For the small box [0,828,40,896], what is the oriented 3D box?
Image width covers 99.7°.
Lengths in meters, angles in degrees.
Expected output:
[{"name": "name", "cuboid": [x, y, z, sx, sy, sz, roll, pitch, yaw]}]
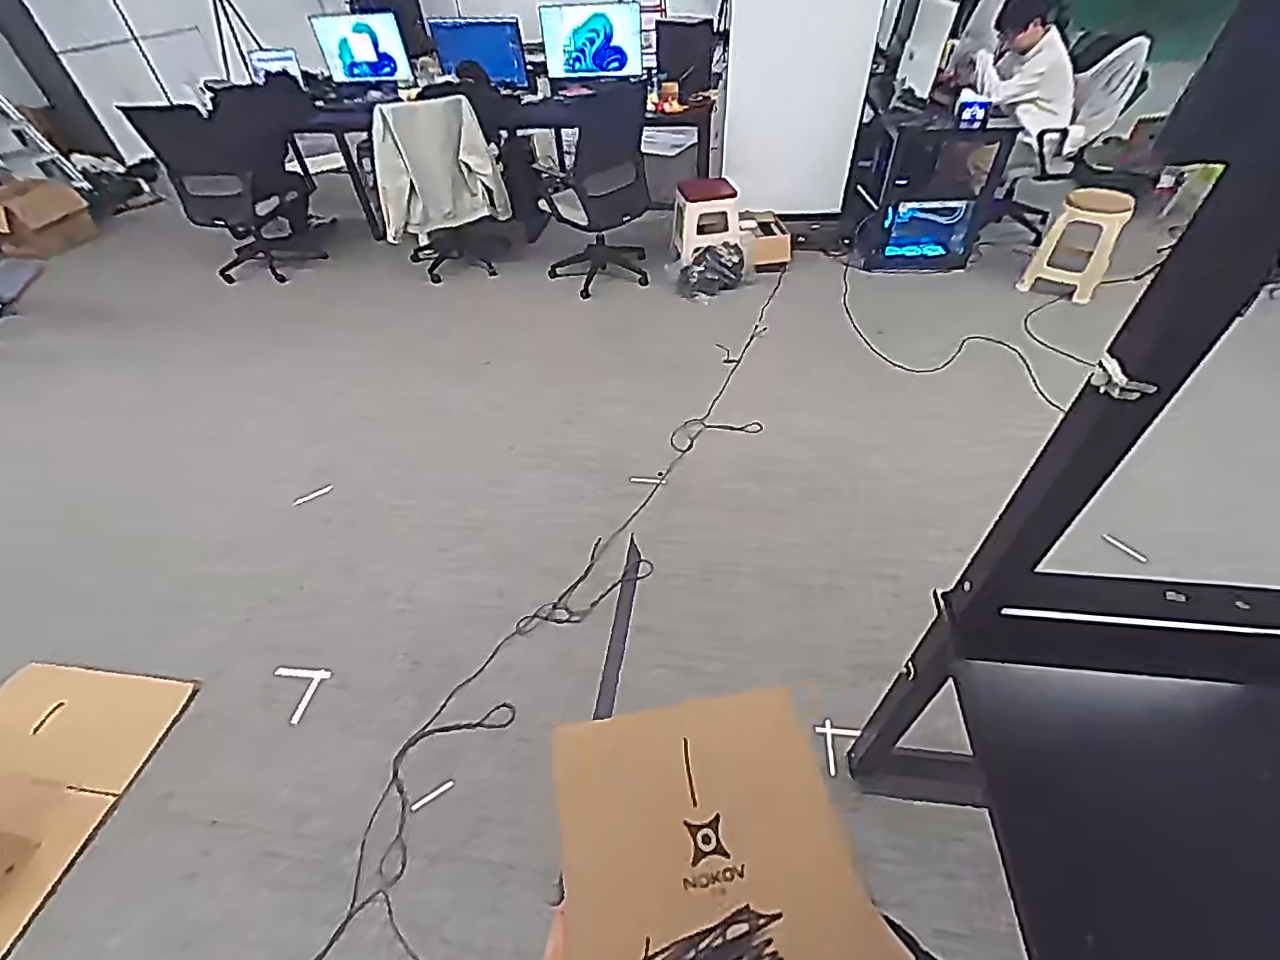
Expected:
[{"name": "small box", "cuboid": [-1.553, 0.879, 1.220, 0.179, 0.176, 0.168, 1, 45, 6]}]
